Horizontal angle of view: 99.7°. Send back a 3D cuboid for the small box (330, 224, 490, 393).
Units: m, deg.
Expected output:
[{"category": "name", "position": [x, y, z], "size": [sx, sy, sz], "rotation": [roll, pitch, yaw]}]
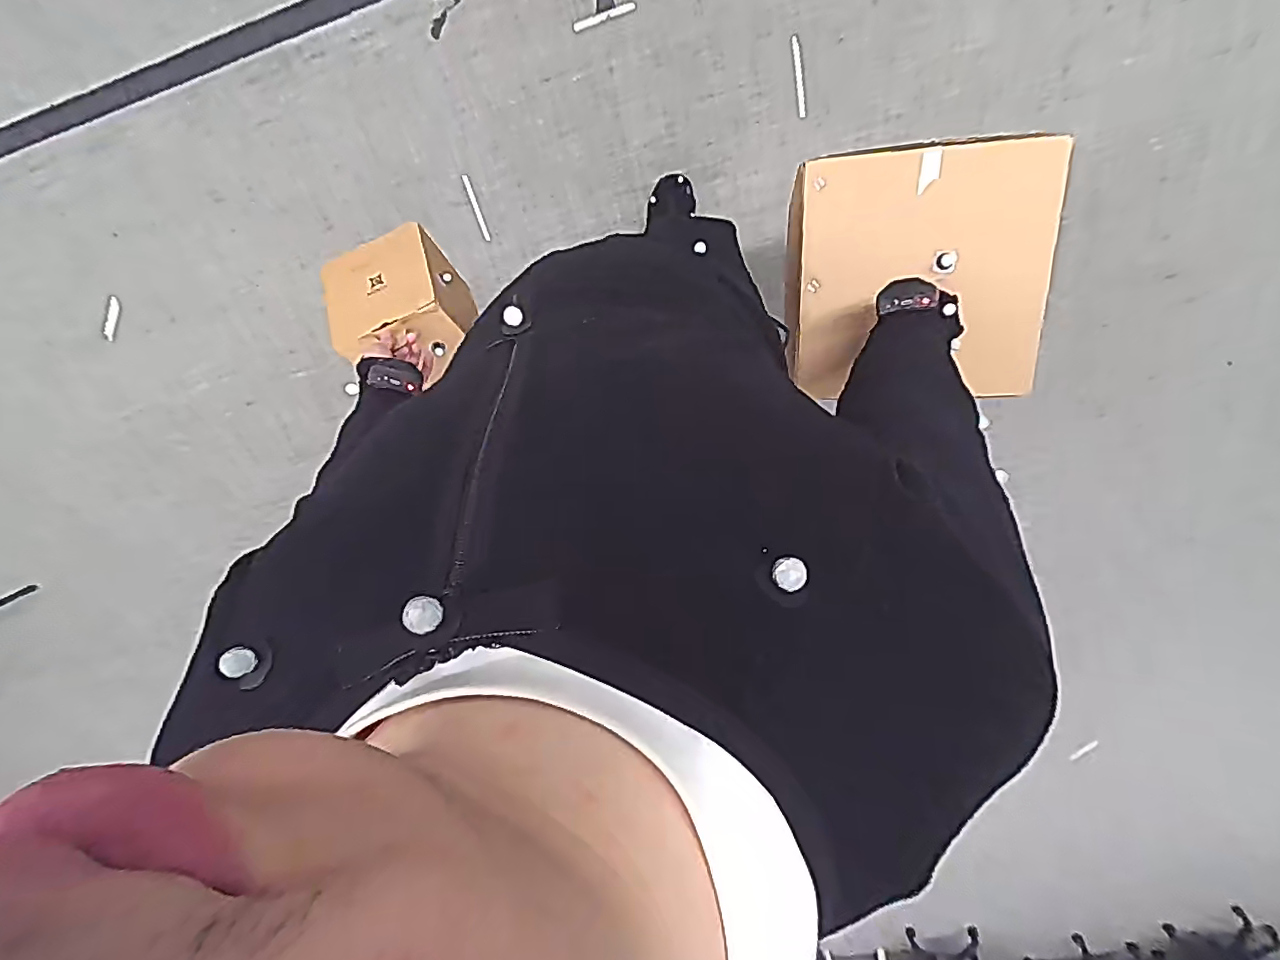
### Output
[{"category": "small box", "position": [-0.363, -0.262, 0.875], "size": [0.168, 0.179, 0.176], "rotation": [-22, 156, 5]}]
